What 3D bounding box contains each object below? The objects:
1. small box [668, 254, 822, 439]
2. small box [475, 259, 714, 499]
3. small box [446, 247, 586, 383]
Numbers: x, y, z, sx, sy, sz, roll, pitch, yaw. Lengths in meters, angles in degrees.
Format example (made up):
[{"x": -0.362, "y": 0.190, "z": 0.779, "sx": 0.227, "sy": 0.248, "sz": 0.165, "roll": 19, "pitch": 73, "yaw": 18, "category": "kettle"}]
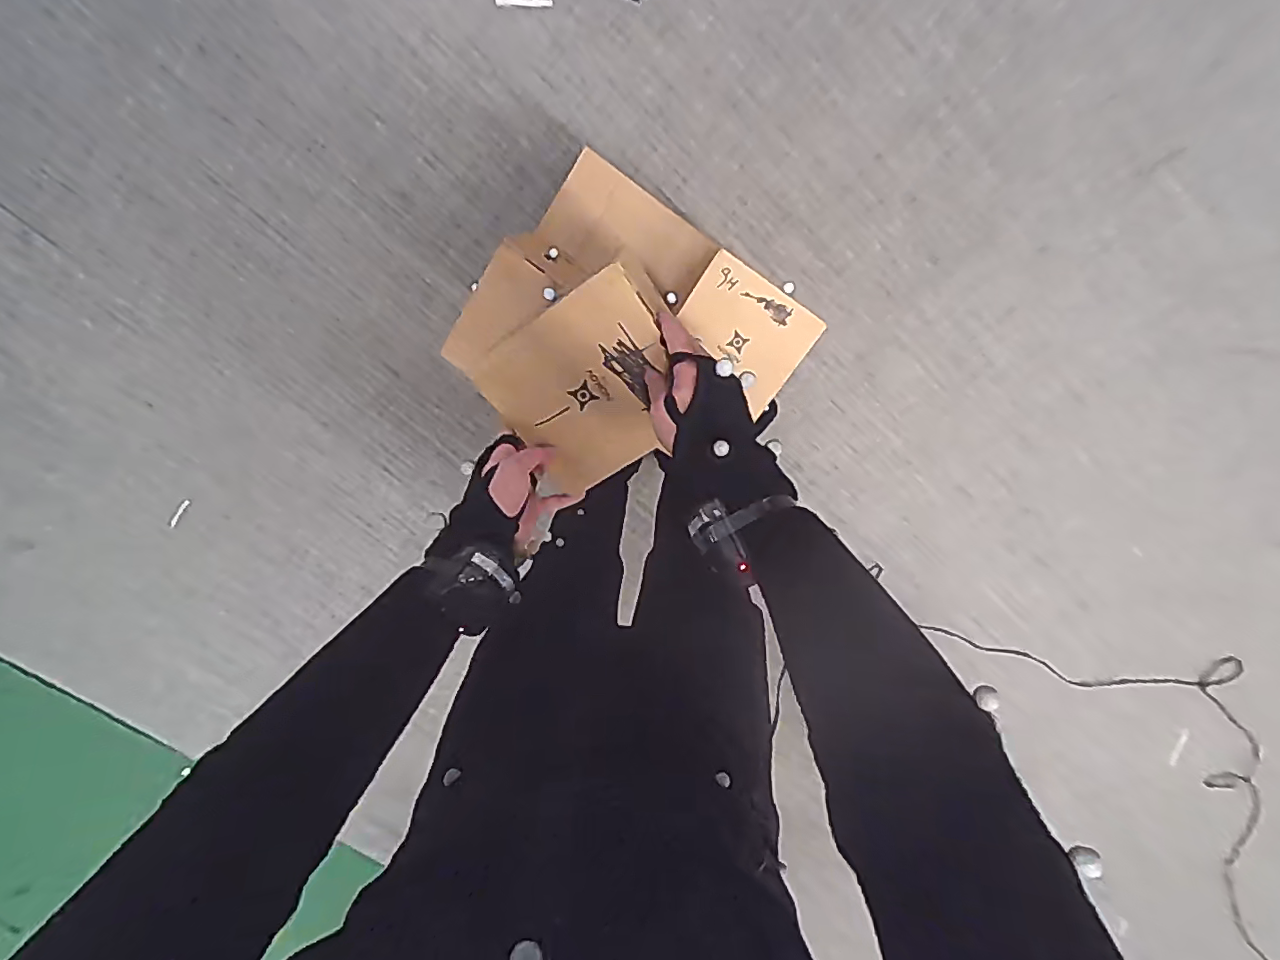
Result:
[{"x": 0.121, "y": -0.192, "z": 0.758, "sx": 0.168, "sy": 0.176, "sz": 0.179, "roll": 31, "pitch": 112, "yaw": -10, "category": "small box"}, {"x": -0.041, "y": -0.117, "z": 0.586, "sx": 0.179, "sy": 0.176, "sz": 0.168, "roll": -30, "pitch": 112, "yaw": 17, "category": "small box"}, {"x": -0.138, "y": -0.210, "z": 0.771, "sx": 0.168, "sy": 0.176, "sz": 0.179, "roll": 35, "pitch": 116, "yaw": -10, "category": "small box"}]
